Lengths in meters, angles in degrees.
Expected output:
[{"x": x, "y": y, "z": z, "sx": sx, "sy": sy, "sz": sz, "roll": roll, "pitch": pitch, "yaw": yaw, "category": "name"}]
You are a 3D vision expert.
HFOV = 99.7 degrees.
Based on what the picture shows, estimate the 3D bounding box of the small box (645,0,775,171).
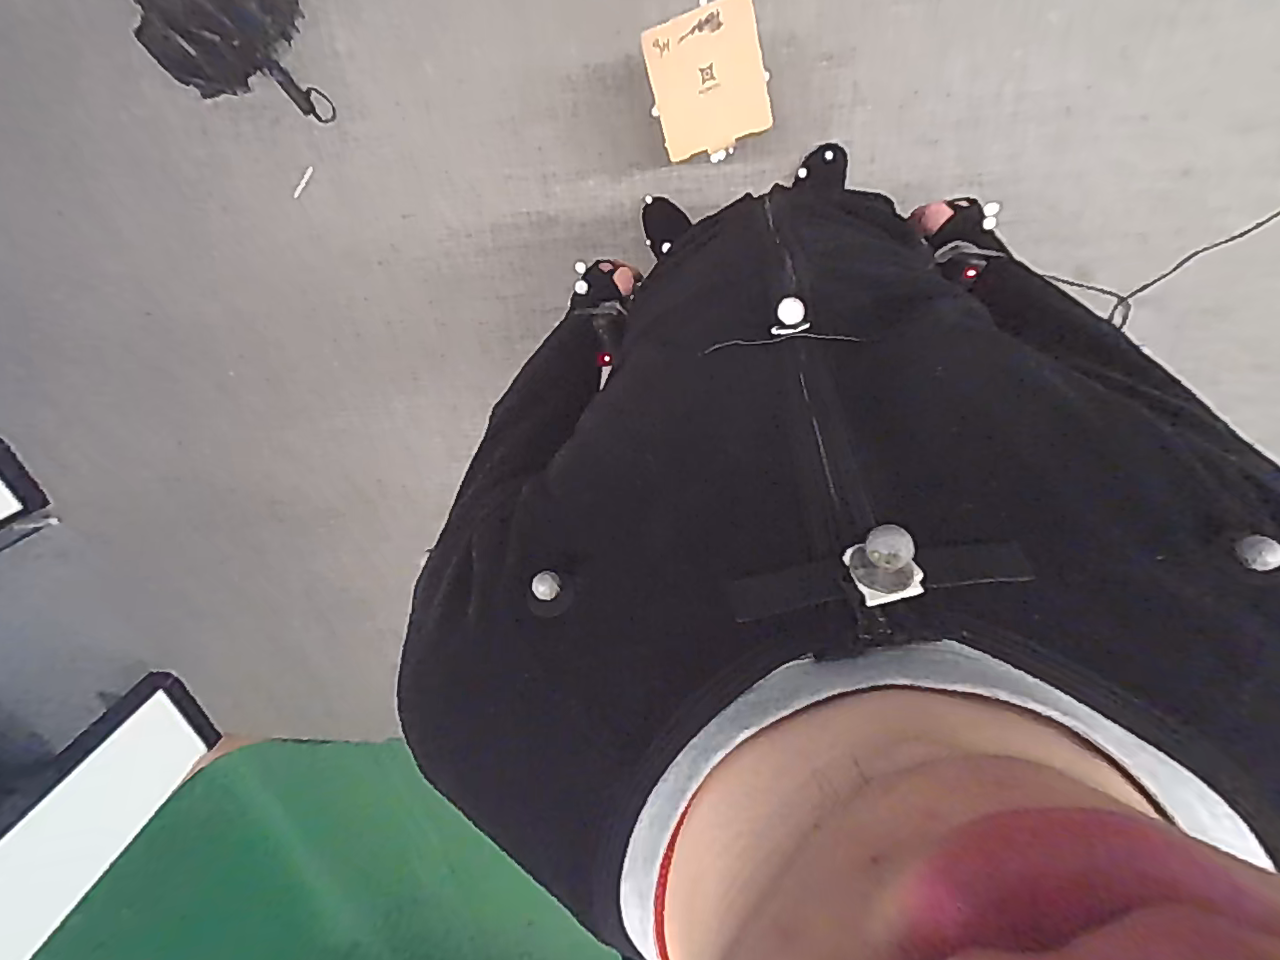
[{"x": 0.118, "y": -0.626, "z": 0.876, "sx": 0.168, "sy": 0.176, "sz": 0.179, "roll": -12, "pitch": 119, "yaw": 15, "category": "small box"}]
